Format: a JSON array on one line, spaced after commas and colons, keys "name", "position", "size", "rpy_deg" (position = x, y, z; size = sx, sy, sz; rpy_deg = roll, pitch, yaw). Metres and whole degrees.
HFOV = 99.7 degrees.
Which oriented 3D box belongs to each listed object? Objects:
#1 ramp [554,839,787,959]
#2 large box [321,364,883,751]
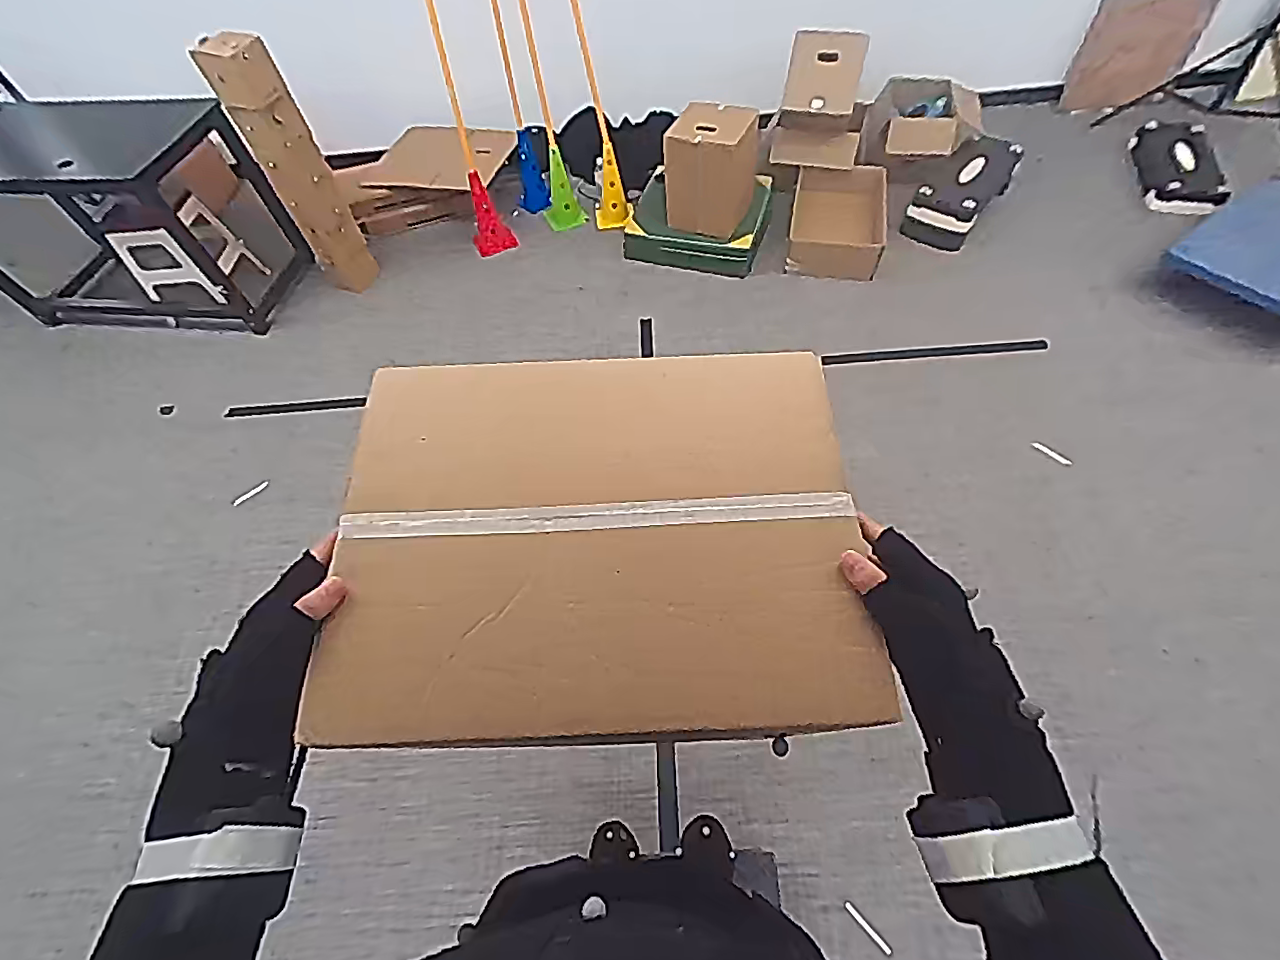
[{"name": "ramp", "position": [0.077, 1.275, 1.022], "size": [0.509, 0.206, 0.991], "rpy_deg": [-5, 58, 0]}, {"name": "large box", "position": [-0.028, 0.103, 0.574], "size": [0.408, 0.320, 0.320], "rpy_deg": [-2, 63, 0]}]
